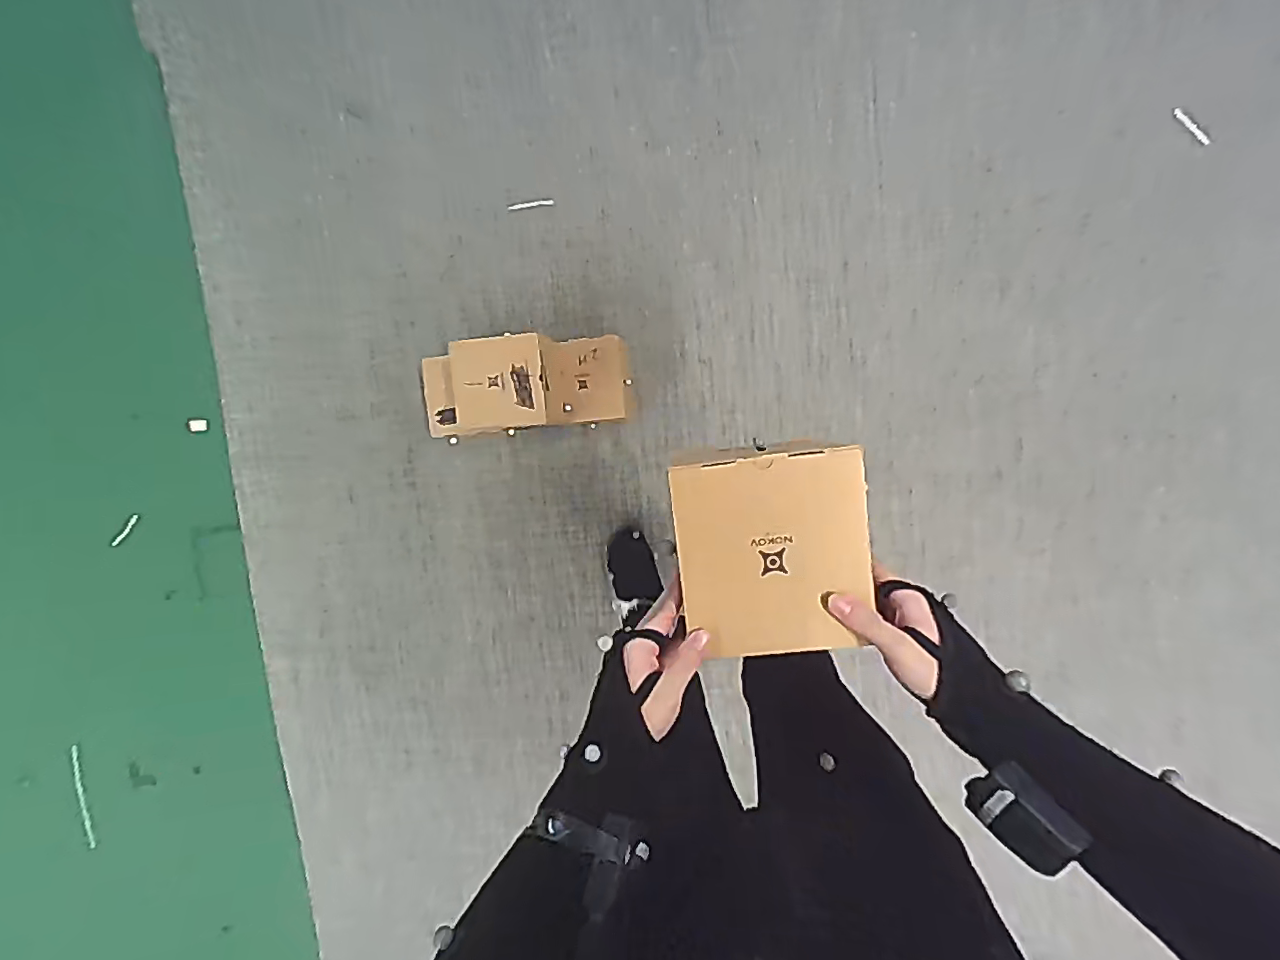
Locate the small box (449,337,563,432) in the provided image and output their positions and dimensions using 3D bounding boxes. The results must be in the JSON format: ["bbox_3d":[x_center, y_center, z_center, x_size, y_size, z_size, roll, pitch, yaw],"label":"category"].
[{"bbox_3d":[-0.255,-0.184,1.073,0.179,0.176,0.168,-4,95,6],"label":"small box"}]

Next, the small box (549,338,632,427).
[{"bbox_3d":[-0.114,-0.215,1.222,0.168,0.176,0.179,-5,95,6],"label":"small box"}]

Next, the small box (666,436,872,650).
[{"bbox_3d":[0.121,0.052,0.553,0.168,0.176,0.179,-7,95,5],"label":"small box"}]
